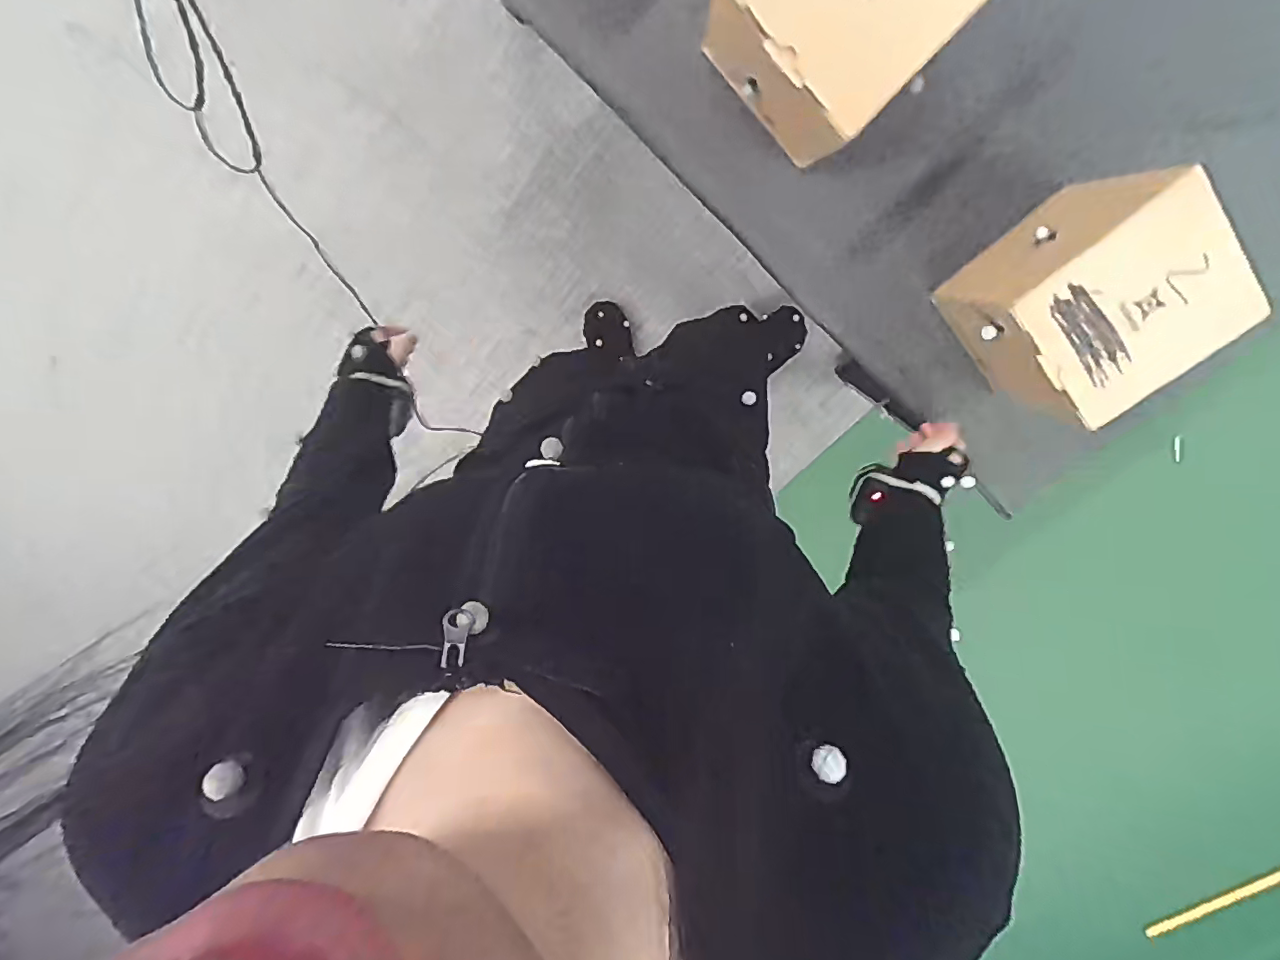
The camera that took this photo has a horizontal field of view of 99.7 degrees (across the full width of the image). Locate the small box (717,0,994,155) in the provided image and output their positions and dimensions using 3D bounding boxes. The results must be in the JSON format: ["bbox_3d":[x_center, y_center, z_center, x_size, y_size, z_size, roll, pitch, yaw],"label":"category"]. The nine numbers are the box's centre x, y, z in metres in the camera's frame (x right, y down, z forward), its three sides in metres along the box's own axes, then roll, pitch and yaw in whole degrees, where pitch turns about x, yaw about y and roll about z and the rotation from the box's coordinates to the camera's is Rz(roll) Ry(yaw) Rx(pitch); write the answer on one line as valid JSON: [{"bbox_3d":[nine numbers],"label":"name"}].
[{"bbox_3d":[0.187,-0.431,0.481,0.168,0.176,0.179,42,108,-16],"label":"small box"}]
